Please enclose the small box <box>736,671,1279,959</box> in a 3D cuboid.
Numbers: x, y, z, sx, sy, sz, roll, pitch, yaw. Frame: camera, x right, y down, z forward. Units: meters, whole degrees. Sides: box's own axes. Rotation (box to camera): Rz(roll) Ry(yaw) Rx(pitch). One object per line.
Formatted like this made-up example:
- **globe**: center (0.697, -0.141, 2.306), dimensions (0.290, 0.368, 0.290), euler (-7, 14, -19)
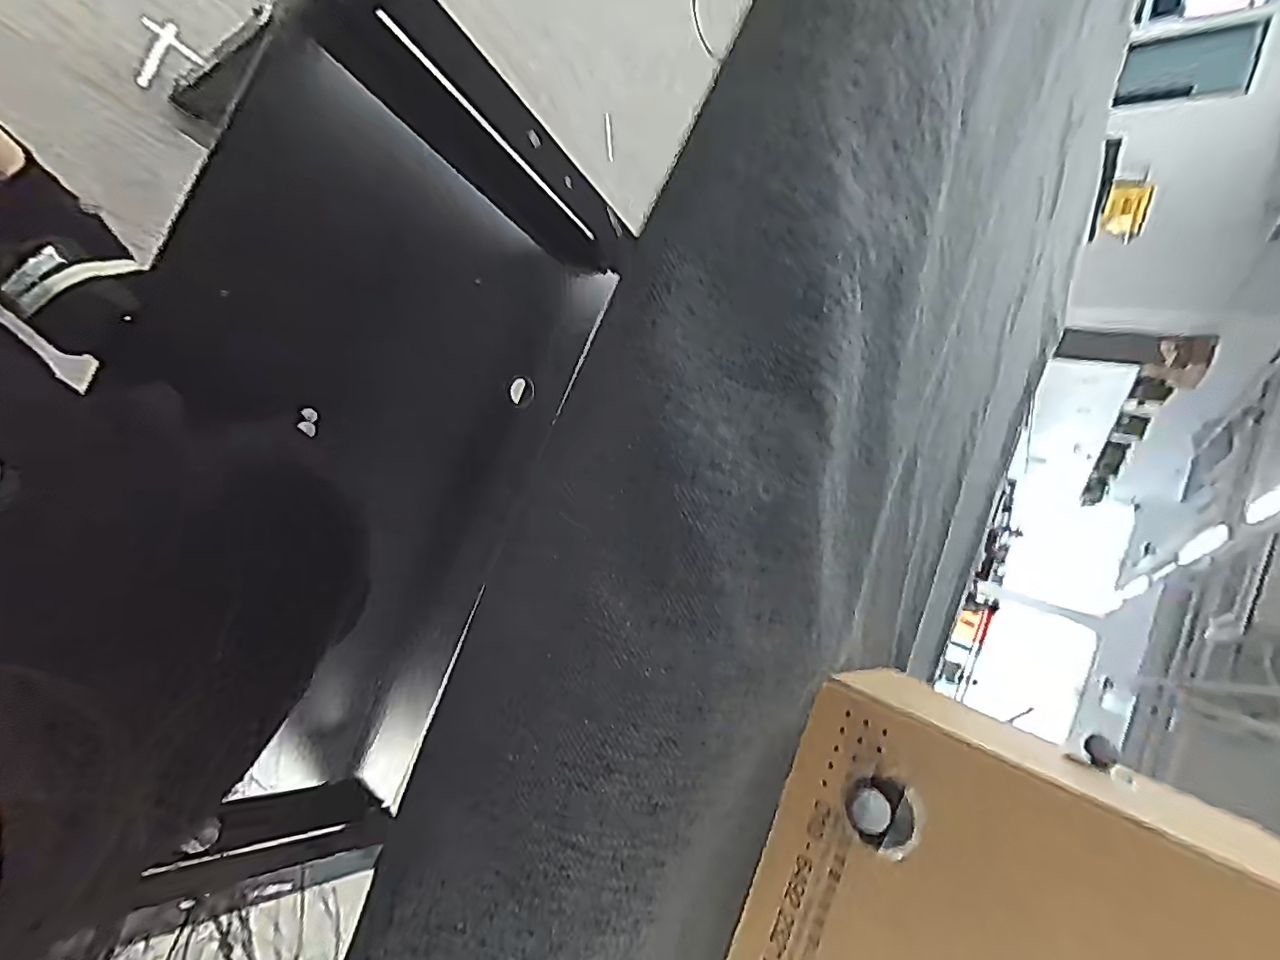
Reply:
- **small box**: center (0.150, 0.192, 0.221), dimensions (0.179, 0.176, 0.168), euler (28, 82, -55)
